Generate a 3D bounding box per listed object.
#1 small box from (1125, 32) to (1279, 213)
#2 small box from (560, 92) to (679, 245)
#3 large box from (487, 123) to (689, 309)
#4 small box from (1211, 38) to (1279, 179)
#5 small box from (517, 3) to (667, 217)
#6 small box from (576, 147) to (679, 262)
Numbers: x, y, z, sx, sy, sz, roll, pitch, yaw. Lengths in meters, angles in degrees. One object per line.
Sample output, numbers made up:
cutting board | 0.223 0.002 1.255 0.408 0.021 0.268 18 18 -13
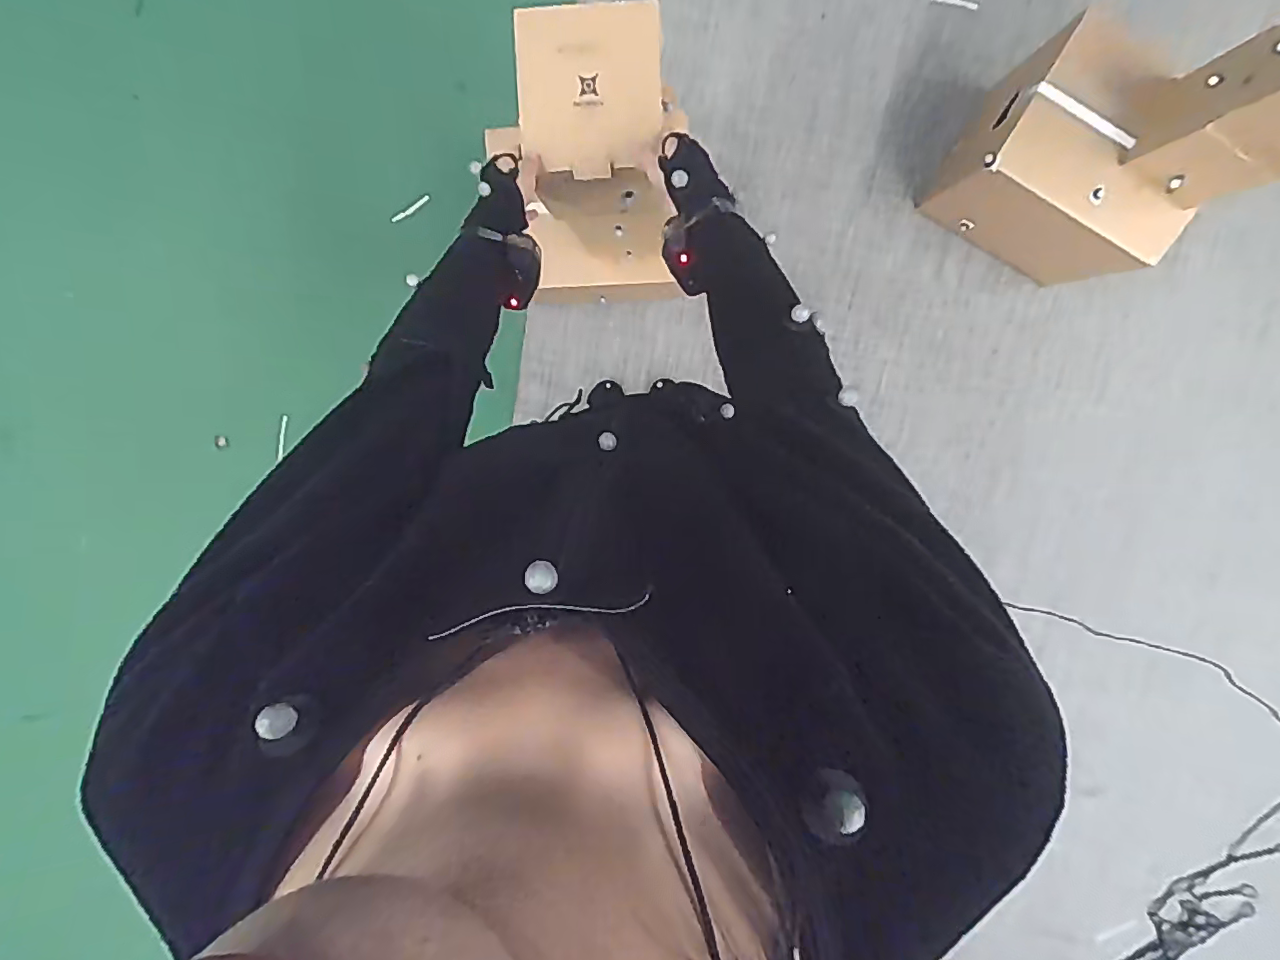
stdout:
small box | 1.031 -0.612 0.952 0.168 0.176 0.179 30 100 -4
small box | -0.029 -0.479 0.855 0.179 0.176 0.168 -1 102 5
large box | -0.096 -0.580 1.256 0.408 0.320 0.320 -2 101 4
small box | 1.034 -0.577 0.794 0.179 0.176 0.168 32 100 -4
small box | -0.050 -0.450 0.691 0.168 0.176 0.179 -1 98 4
small box | -0.022 -0.514 1.016 0.179 0.176 0.168 2 101 2
